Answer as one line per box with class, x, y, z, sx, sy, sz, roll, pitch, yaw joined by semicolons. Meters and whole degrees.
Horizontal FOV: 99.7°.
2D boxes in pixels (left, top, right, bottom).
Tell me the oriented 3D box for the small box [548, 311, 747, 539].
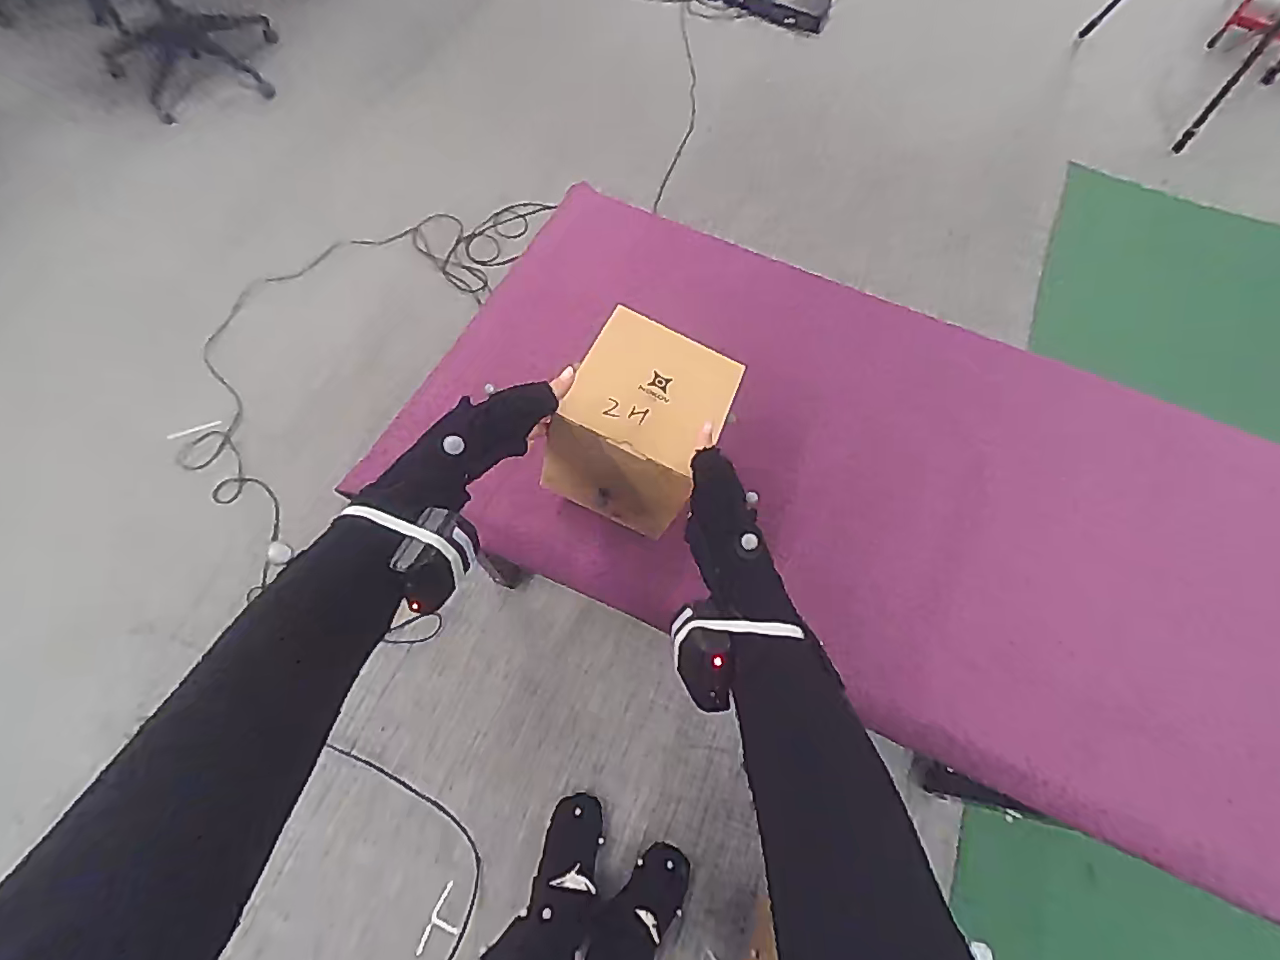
small box;0.001;-0.058;0.653;0.168;0.176;0.179;27;59;-2
